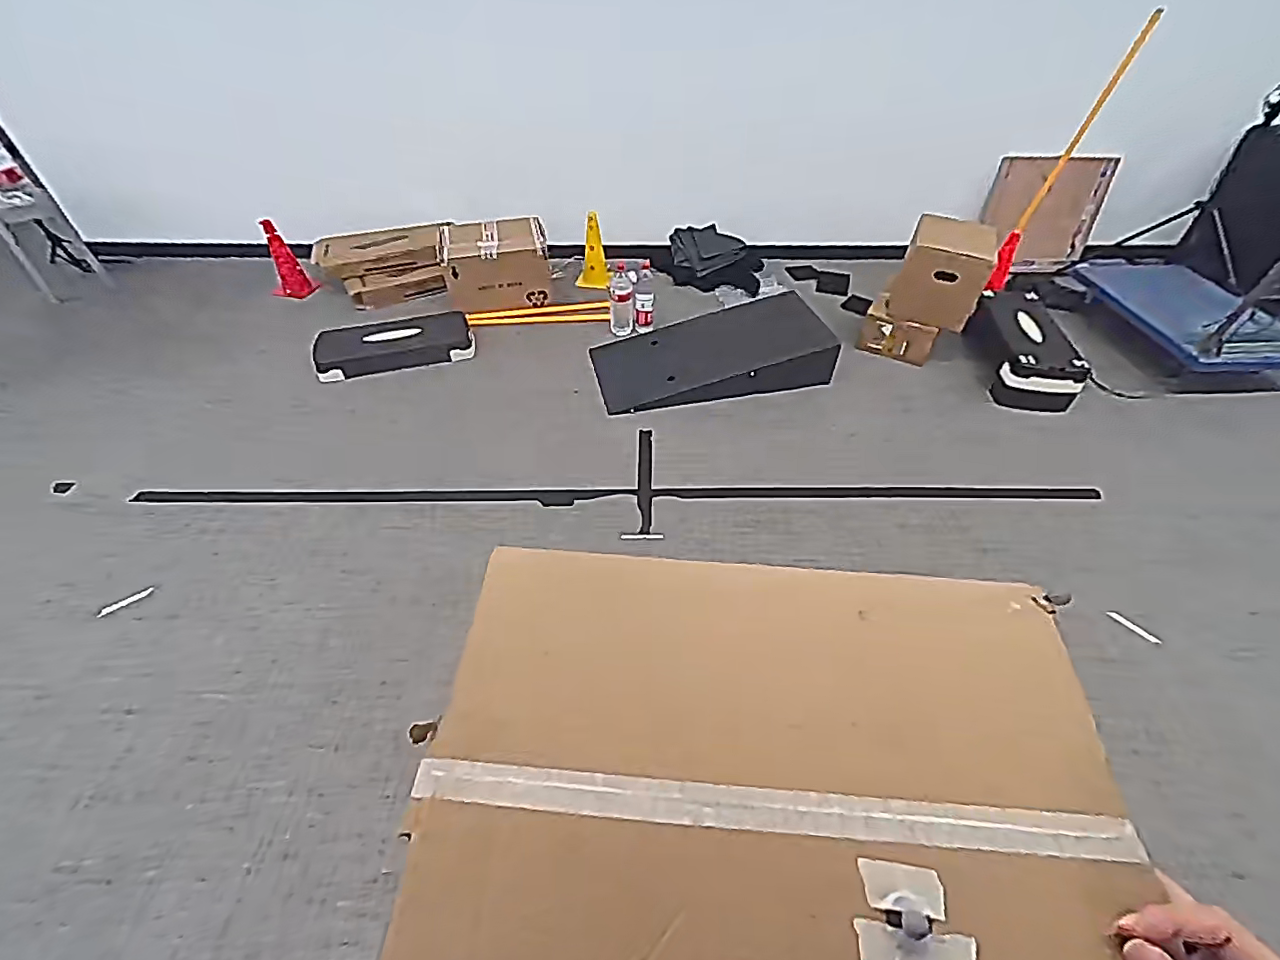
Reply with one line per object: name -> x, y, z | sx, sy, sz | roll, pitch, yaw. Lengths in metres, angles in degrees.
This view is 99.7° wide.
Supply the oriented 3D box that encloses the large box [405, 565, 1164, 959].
large box -> 0.077, 0.286, 0.440 | 0.408, 0.320, 0.320 | 4, 55, 2
